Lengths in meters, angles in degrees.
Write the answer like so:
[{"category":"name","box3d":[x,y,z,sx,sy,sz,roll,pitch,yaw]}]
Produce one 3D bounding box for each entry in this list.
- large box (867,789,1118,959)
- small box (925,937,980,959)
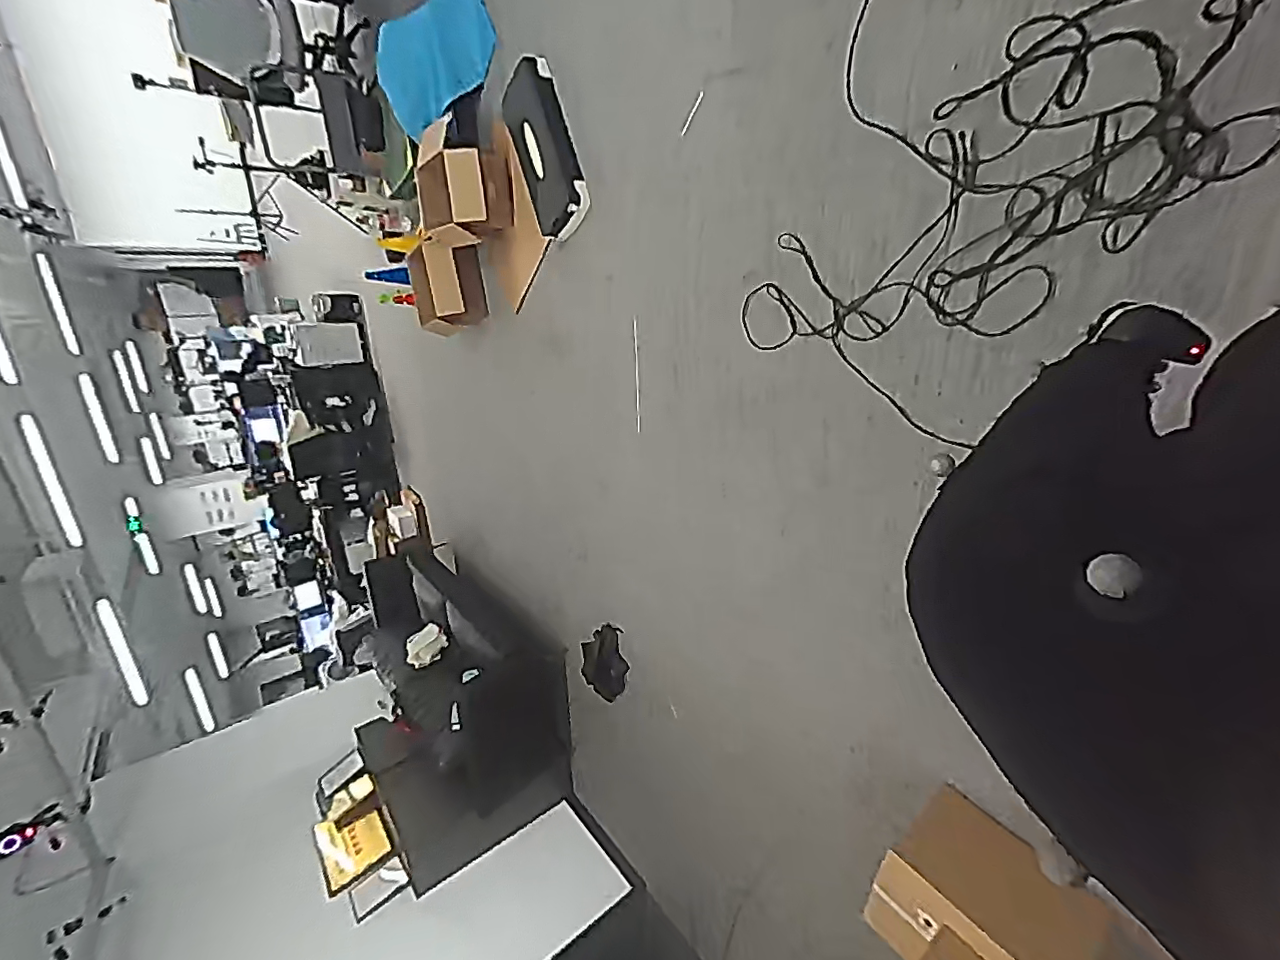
[{"category":"large box","box3d":[0.868,1.106,1.366,0.408,0.320,0.320,31,125,45]},{"category":"small box","box3d":[0.703,1.169,1.194,0.179,0.176,0.168,30,128,43]}]
